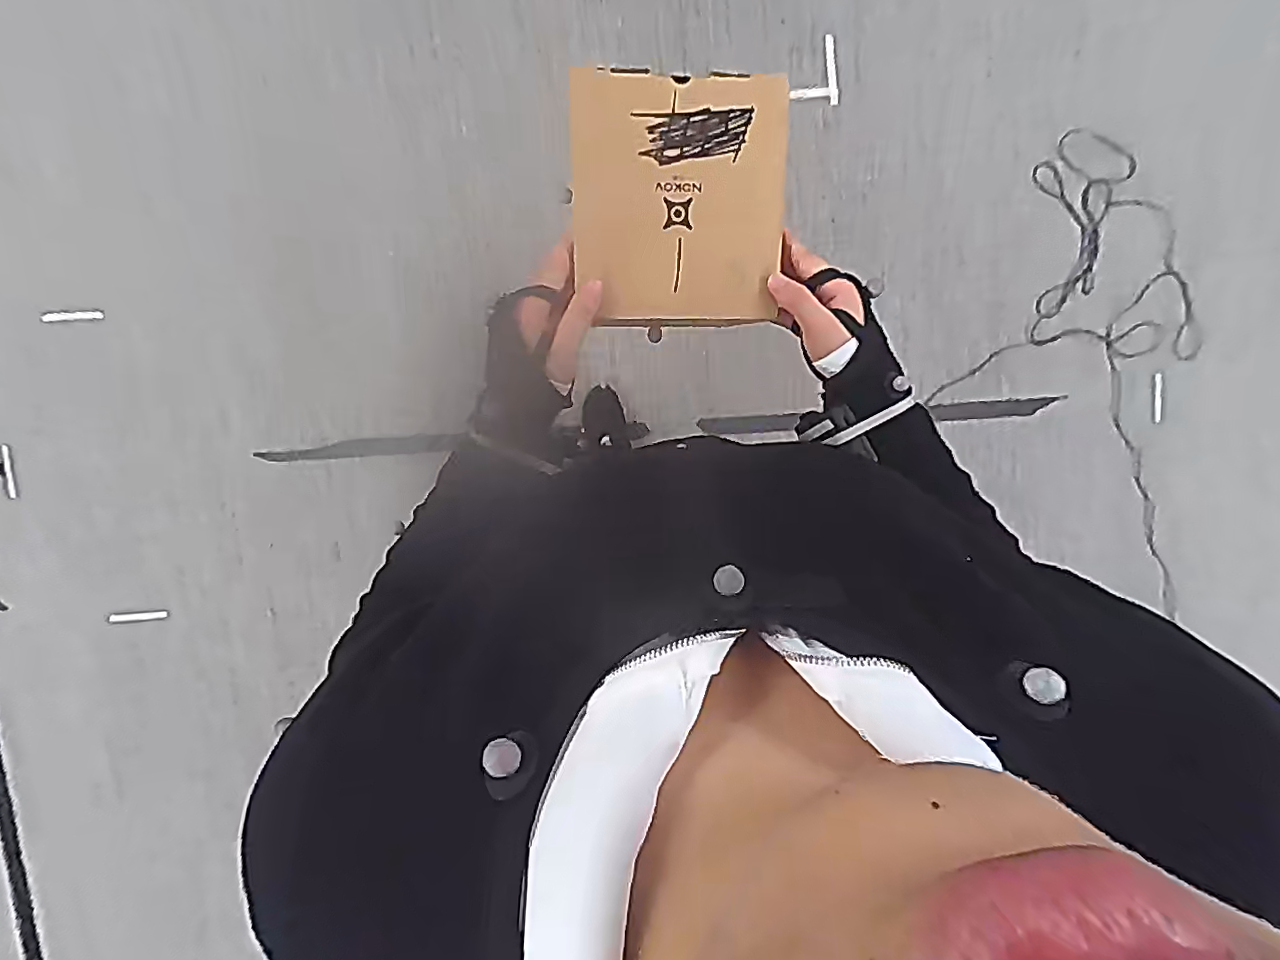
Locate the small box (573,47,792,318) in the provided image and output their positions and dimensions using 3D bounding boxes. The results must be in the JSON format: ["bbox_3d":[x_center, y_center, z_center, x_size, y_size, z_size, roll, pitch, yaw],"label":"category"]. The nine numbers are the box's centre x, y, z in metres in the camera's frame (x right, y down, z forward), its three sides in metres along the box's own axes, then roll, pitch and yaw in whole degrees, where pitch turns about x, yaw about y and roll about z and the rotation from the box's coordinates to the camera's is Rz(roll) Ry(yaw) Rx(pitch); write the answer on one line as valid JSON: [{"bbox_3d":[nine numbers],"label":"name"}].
[{"bbox_3d":[0.023,-0.244,0.489,0.168,0.176,0.179,0,105,-5],"label":"small box"}]
